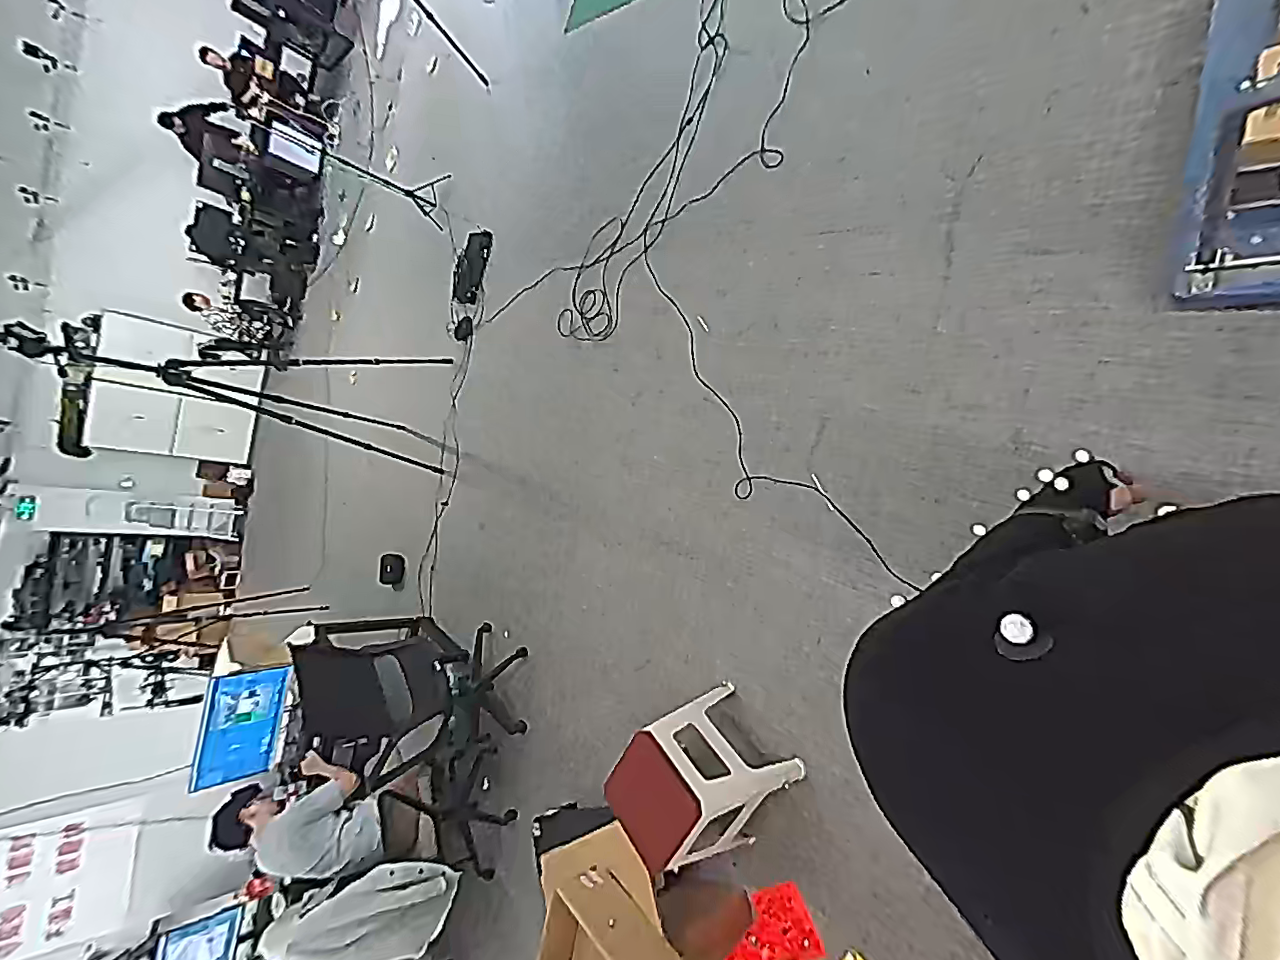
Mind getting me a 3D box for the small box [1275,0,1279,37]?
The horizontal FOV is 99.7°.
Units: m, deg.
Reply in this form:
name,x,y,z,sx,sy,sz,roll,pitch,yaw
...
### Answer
name,x,y,z,sx,sy,sz,roll,pitch,yaw
small box,1.239,-0.918,0.933,0.168,0.176,0.179,5,88,44
